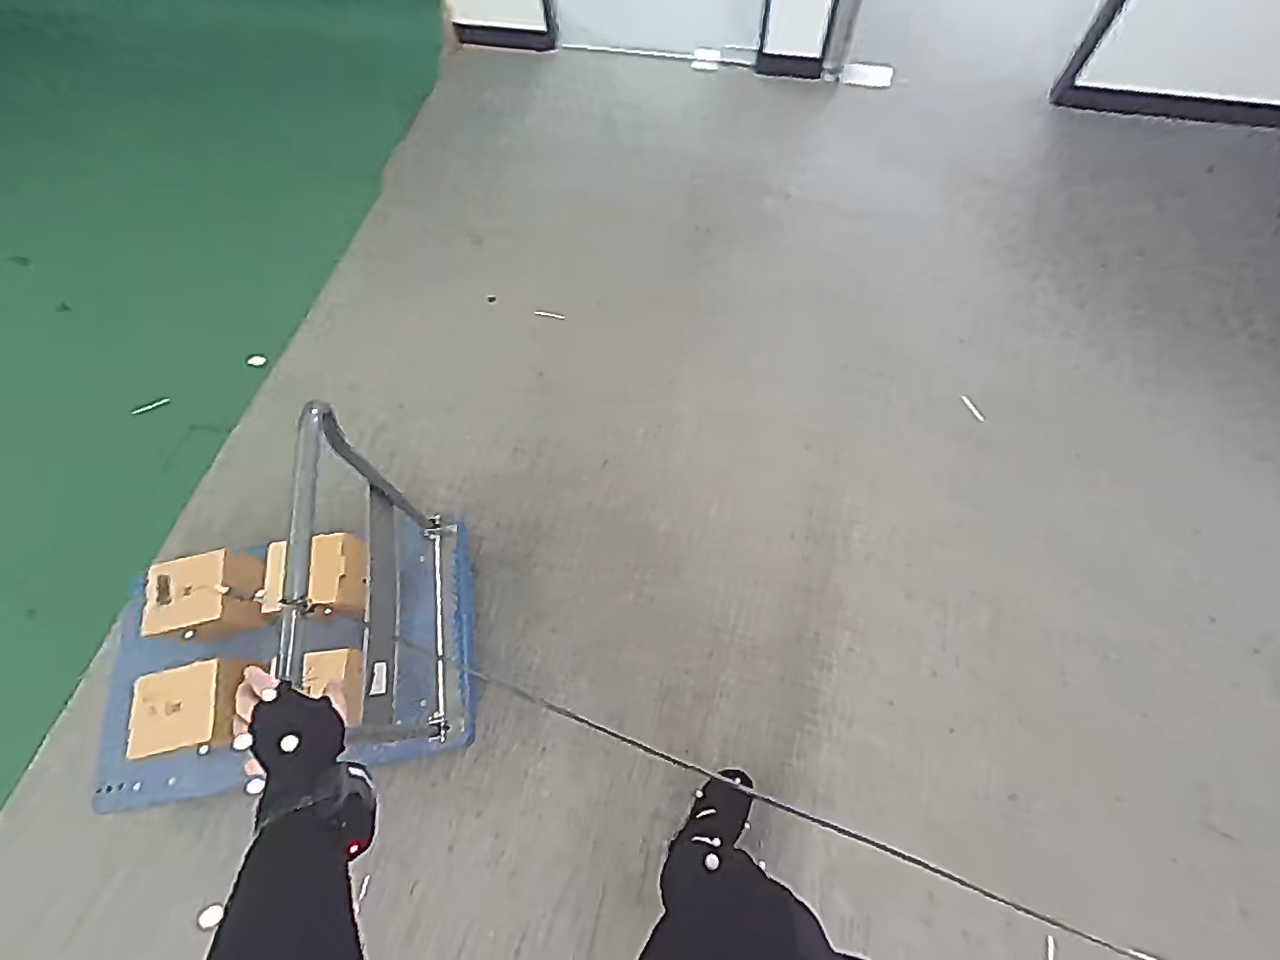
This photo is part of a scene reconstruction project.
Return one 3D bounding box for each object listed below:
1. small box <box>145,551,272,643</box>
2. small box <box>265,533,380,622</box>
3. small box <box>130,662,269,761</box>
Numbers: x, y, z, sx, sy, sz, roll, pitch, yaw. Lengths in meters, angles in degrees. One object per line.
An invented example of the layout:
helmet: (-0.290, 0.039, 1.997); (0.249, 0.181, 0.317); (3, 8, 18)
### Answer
small box: (-1.026, 0.288, 1.303); (0.179, 0.176, 0.168); (-13, 68, -3)
small box: (-0.760, 0.242, 1.310); (0.179, 0.176, 0.168); (-9, 67, -1)
small box: (-0.967, 0.512, 1.206); (0.179, 0.176, 0.168); (-13, 67, -3)
